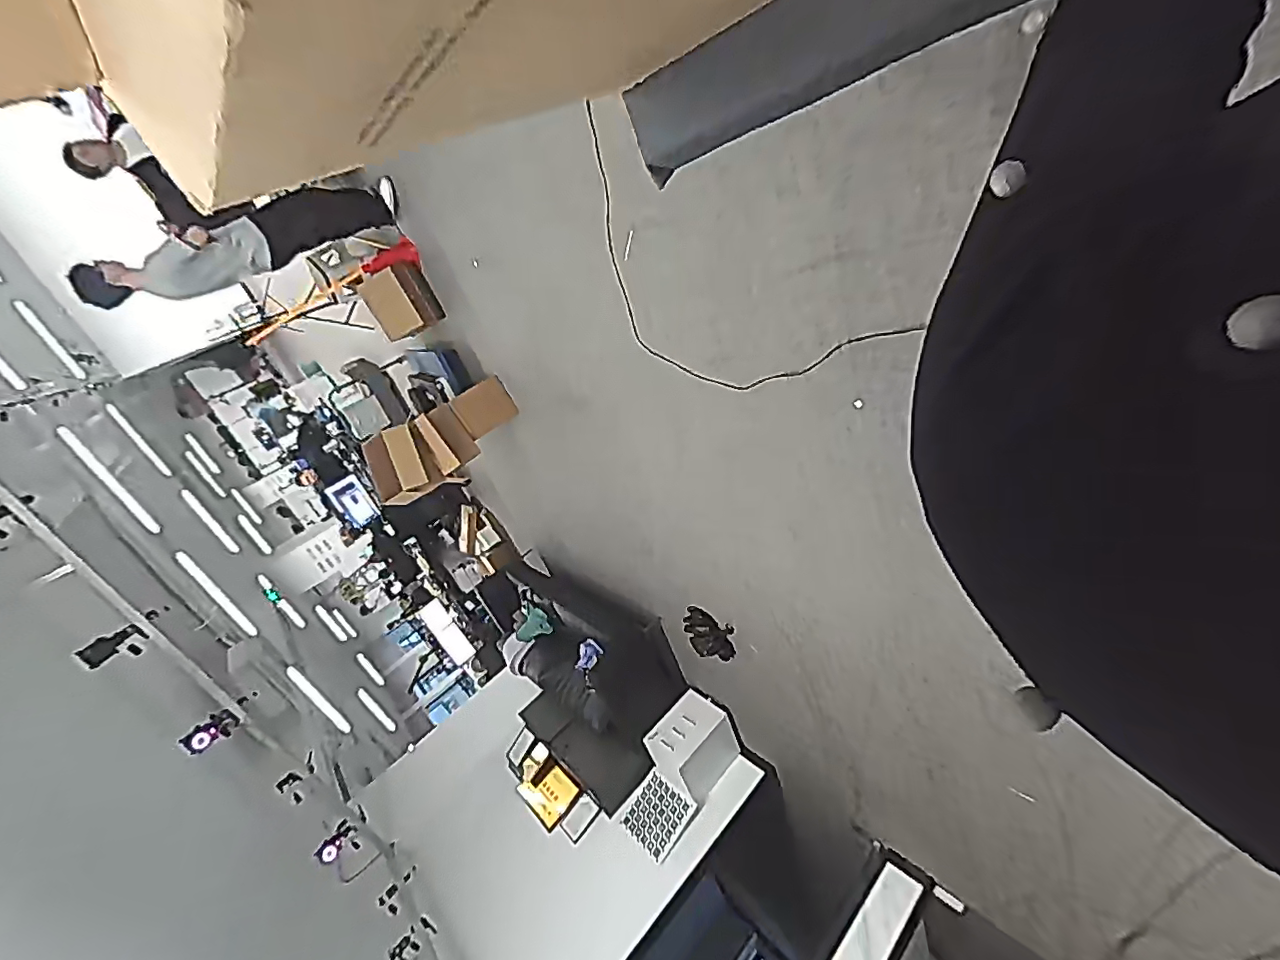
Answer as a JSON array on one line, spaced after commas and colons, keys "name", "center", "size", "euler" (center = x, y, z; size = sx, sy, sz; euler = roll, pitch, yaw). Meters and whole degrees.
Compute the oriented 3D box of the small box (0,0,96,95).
[{"name": "small box", "center": [-0.510, -0.366, 0.345], "size": [0.179, 0.176, 0.168], "euler": [8, 135, 52]}]
